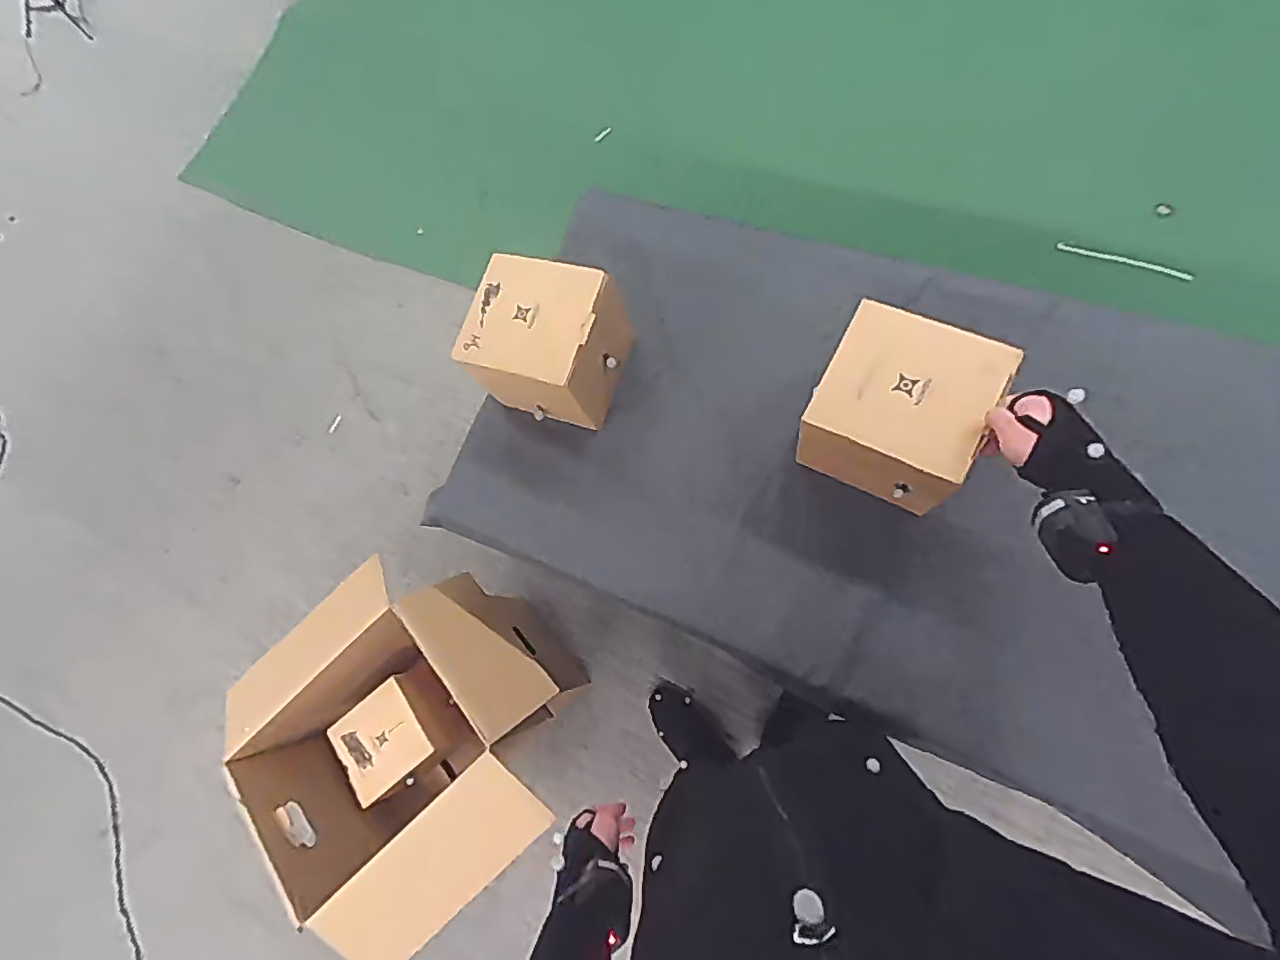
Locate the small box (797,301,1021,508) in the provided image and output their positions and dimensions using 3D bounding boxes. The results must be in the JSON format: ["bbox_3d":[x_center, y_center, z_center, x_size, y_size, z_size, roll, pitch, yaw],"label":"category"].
[{"bbox_3d":[0.306,-0.079,0.656,0.179,0.176,0.168,26,82,20],"label":"small box"}]

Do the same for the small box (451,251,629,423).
[{"bbox_3d":[-0.129,-0.196,0.782,0.179,0.176,0.168,17,79,15],"label":"small box"}]
